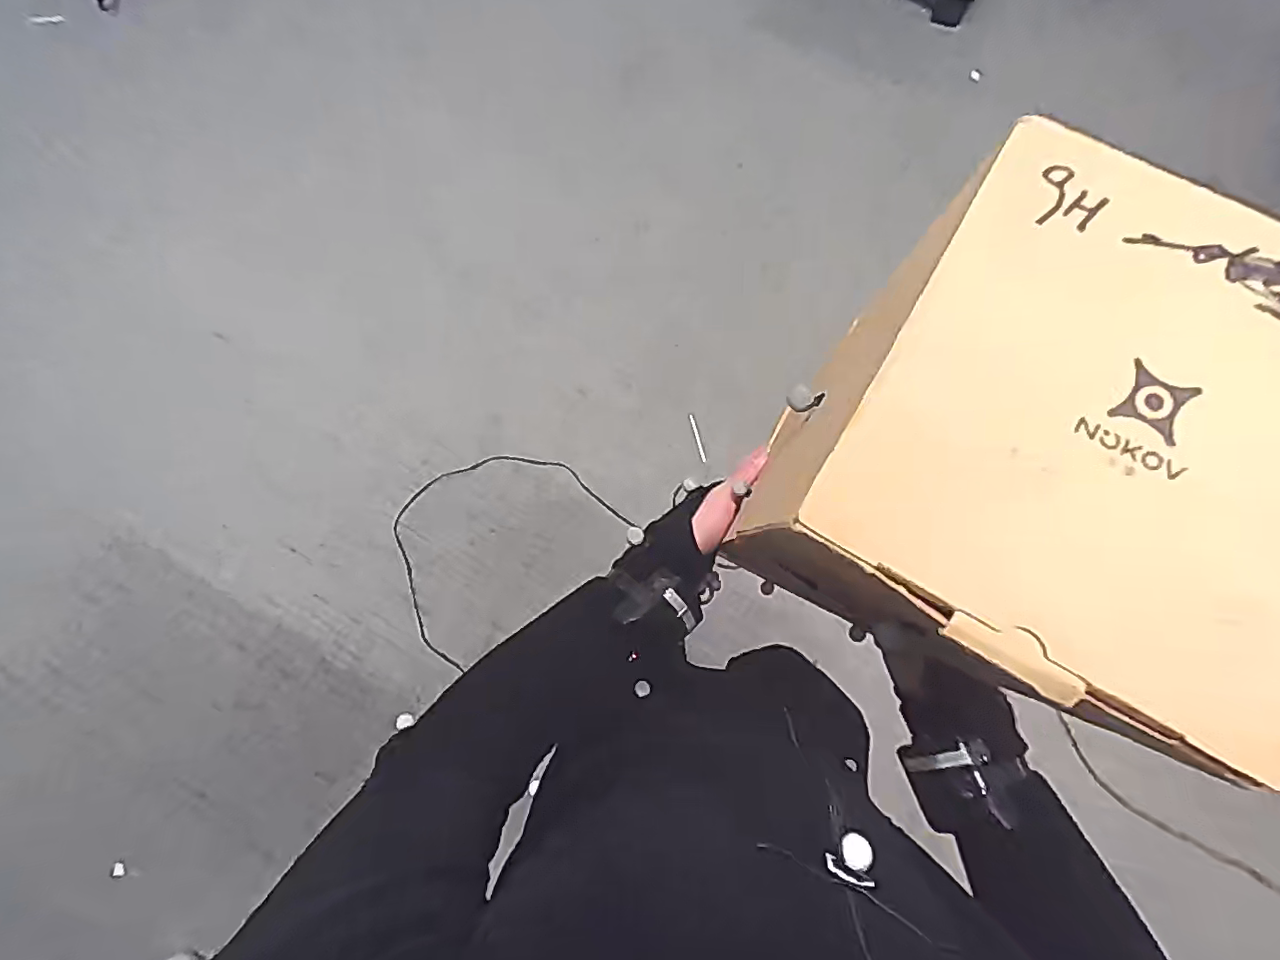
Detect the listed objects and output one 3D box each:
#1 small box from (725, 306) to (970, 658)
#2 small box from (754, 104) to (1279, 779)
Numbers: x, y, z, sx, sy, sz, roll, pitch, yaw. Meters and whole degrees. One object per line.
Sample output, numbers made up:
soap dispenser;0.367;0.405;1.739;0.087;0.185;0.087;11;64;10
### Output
small box;0.176;0.007;0.419;0.168;0.176;0.179;27;84;7
small box;0.167;-0.013;0.257;0.168;0.176;0.179;29;87;7
